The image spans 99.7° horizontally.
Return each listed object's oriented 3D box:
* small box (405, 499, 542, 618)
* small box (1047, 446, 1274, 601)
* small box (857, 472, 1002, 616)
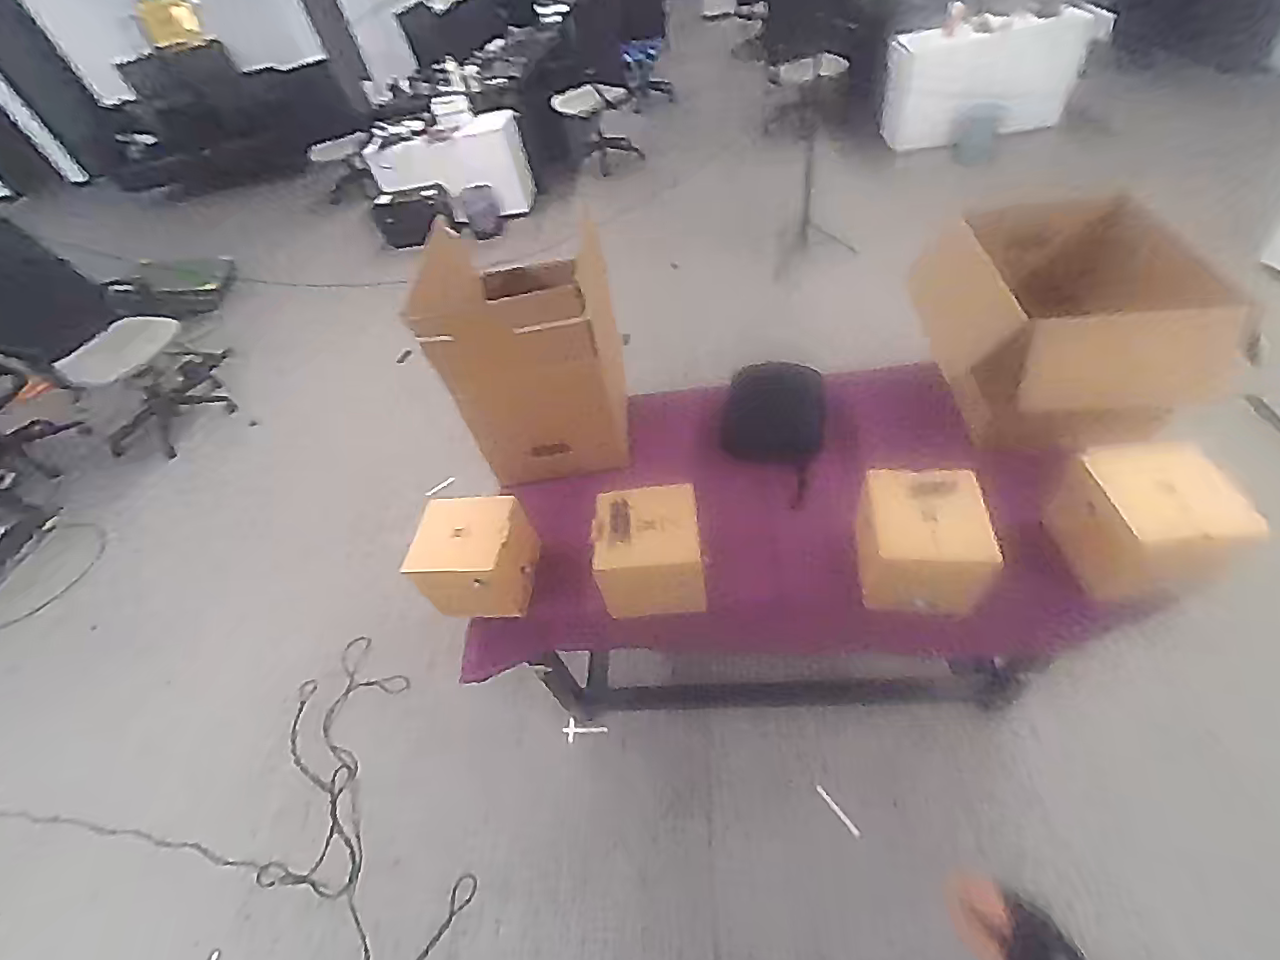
[{"bbox_3d":[-0.306,0.153,1.035,0.179,0.176,0.168,-3,49,9],"label":"small box"},{"bbox_3d":[0.793,0.071,0.855,0.168,0.176,0.179,-6,48,9],"label":"small box"},{"bbox_3d":[0.465,0.105,0.902,0.168,0.176,0.179,0,51,13],"label":"small box"}]
